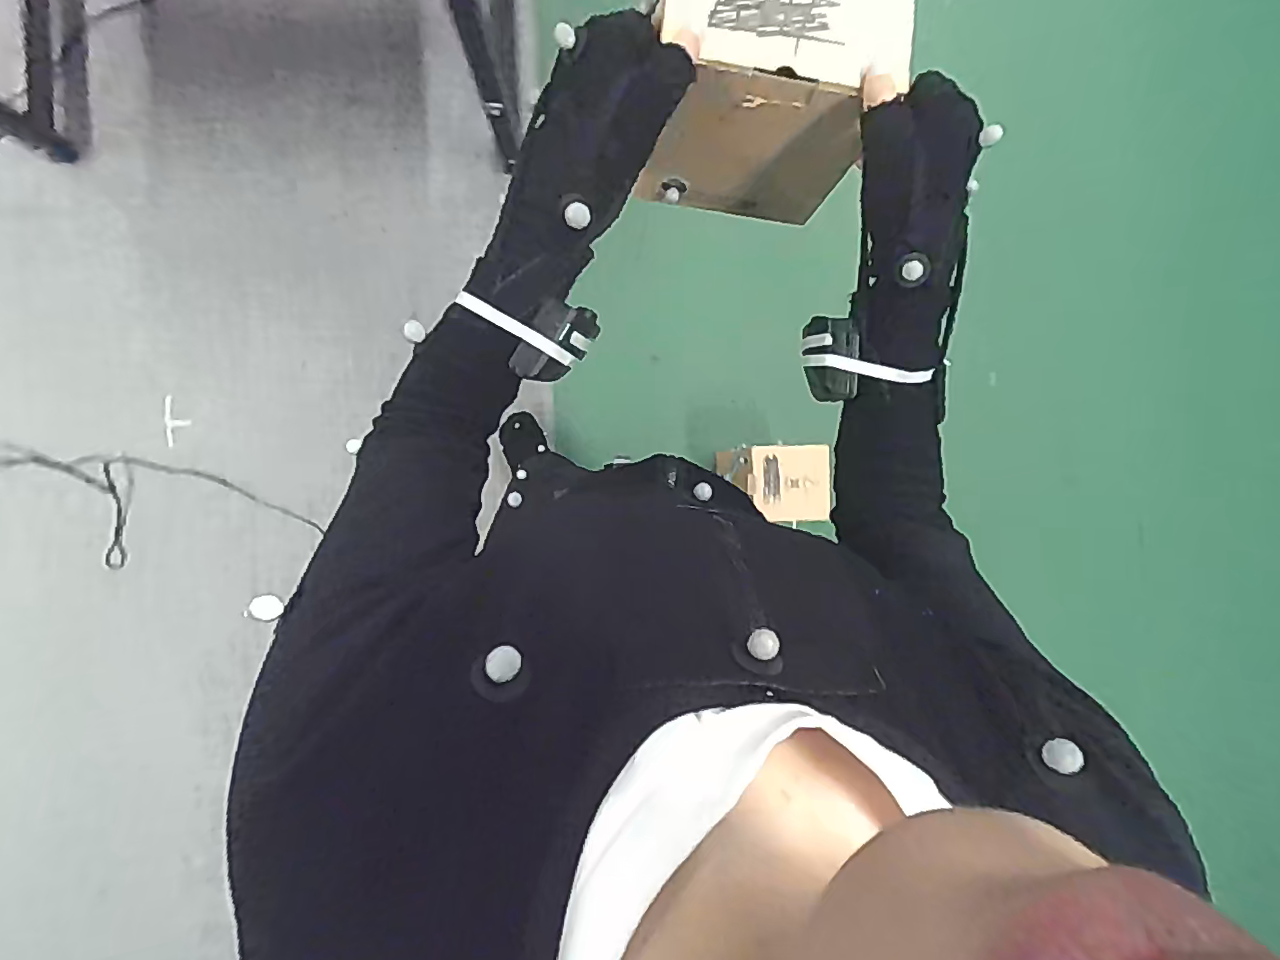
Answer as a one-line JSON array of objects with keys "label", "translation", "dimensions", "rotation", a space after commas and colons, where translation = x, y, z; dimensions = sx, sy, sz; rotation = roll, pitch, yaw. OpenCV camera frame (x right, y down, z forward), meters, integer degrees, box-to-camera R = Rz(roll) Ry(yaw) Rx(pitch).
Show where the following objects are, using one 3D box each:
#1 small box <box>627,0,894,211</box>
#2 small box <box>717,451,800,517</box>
[{"label": "small box", "translation": [0.082, -0.345, 0.430], "dimensions": [0.168, 0.176, 0.179], "rotation": [6, 87, -6]}, {"label": "small box", "translation": [0.306, 0.007, 1.419], "dimensions": [0.179, 0.176, 0.168], "rotation": [-1, 91, -3]}]
